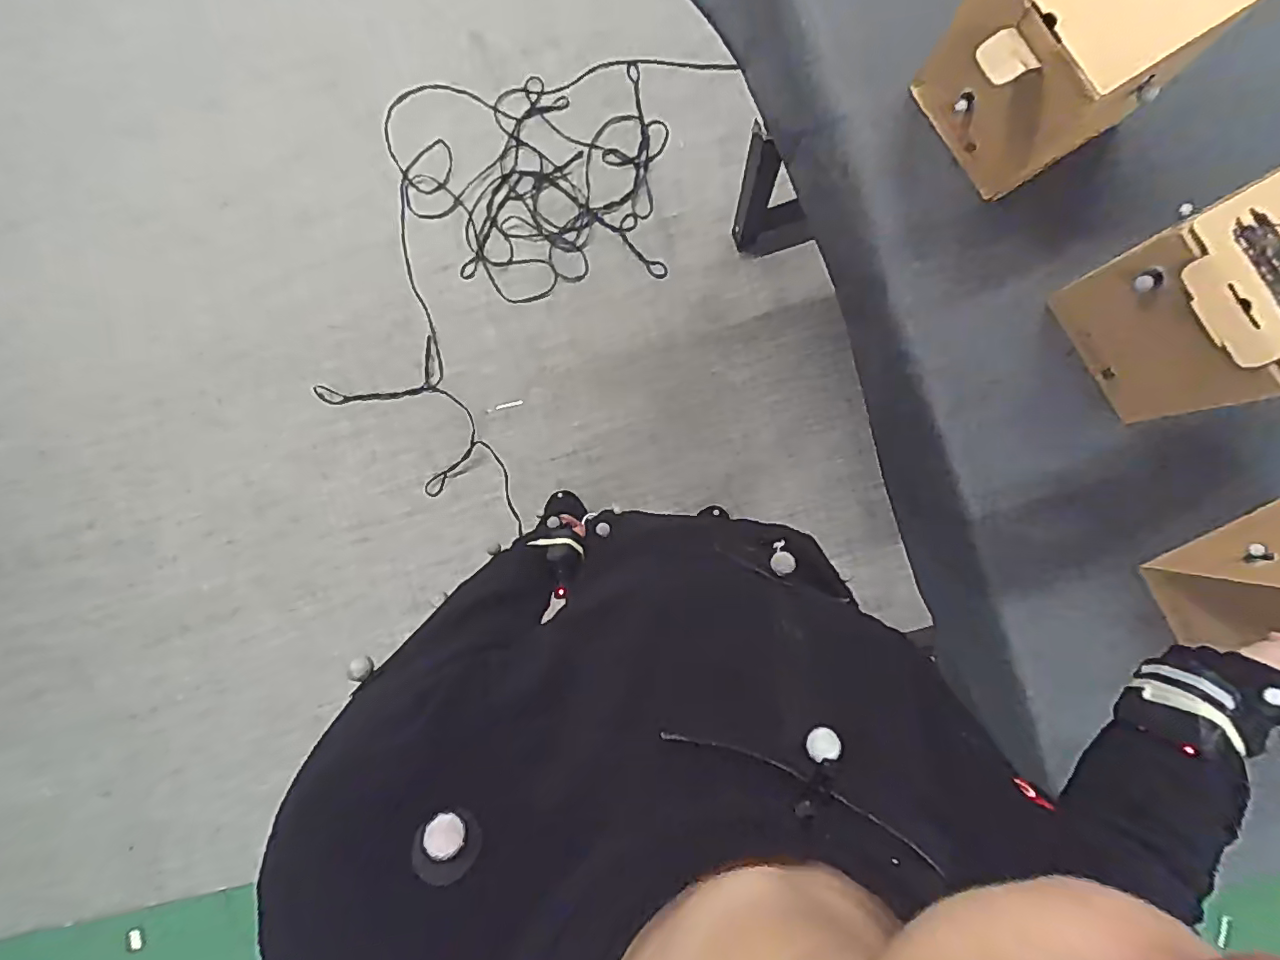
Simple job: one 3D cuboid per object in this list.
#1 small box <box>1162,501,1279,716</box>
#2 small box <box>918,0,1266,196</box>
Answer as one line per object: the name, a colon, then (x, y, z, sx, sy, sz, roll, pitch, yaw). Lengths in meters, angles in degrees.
small box: (0.661, 0.127, 0.510, 0.179, 0.176, 0.168, -28, 88, 1)
small box: (0.426, -0.434, 0.541, 0.179, 0.176, 0.168, -32, 87, 2)
